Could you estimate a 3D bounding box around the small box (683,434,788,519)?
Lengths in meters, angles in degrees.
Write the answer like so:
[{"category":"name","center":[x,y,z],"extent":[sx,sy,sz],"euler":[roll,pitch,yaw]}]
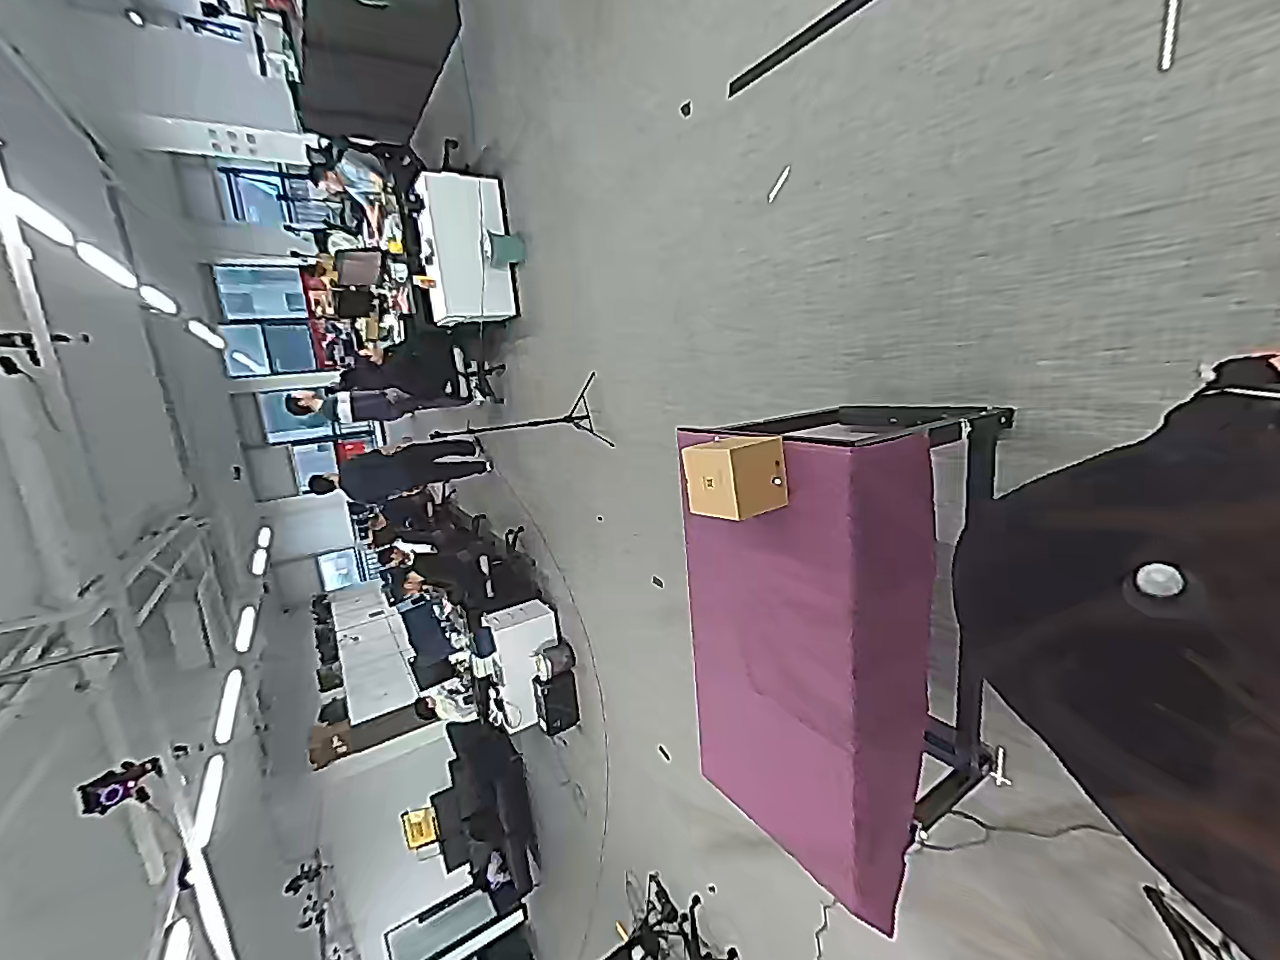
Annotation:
[{"category":"small box","center":[0.229,-0.015,1.301],"extent":[0.179,0.176,0.168],"euler":[7,109,58]}]
